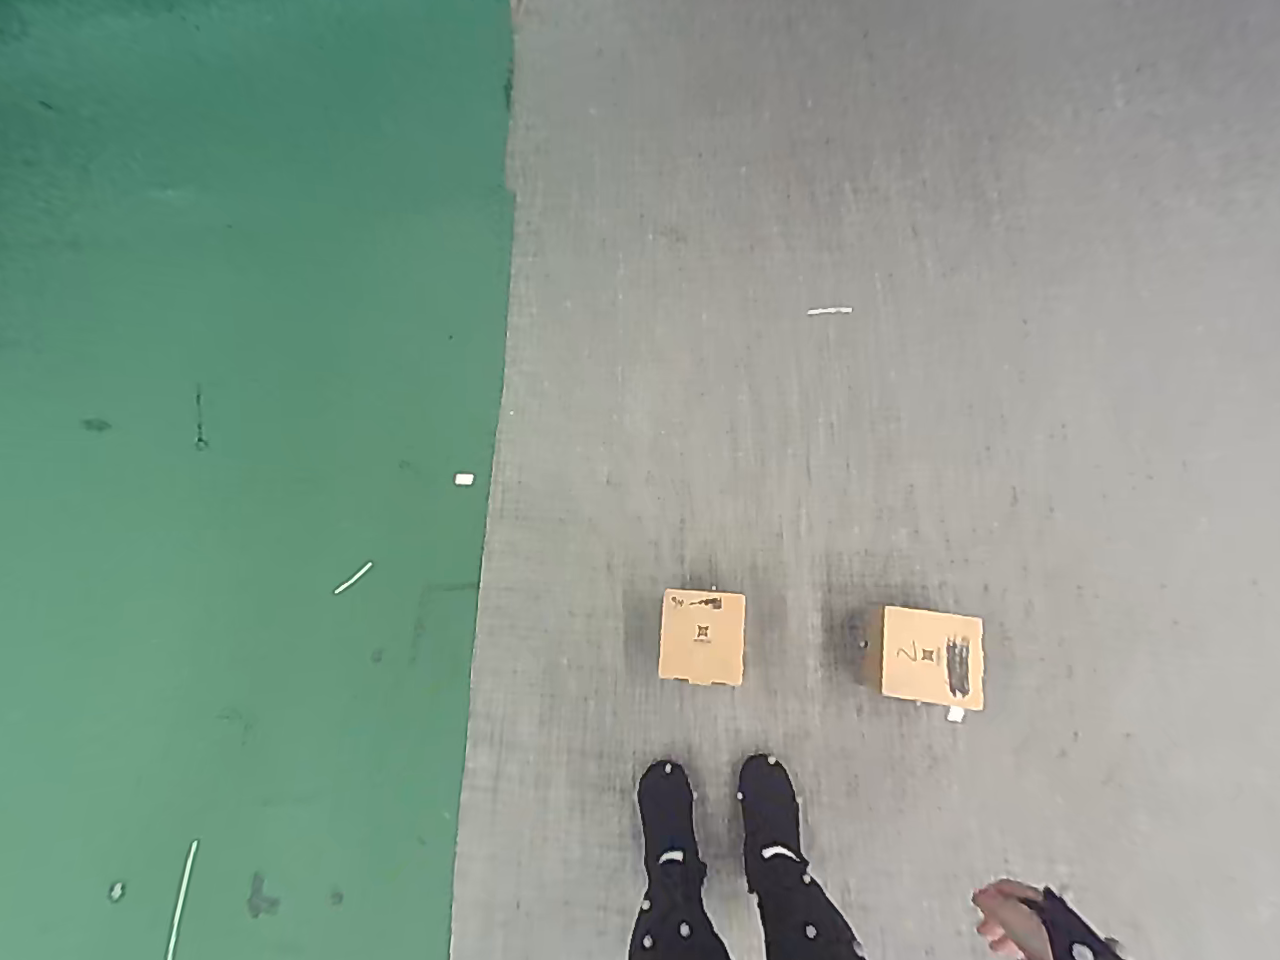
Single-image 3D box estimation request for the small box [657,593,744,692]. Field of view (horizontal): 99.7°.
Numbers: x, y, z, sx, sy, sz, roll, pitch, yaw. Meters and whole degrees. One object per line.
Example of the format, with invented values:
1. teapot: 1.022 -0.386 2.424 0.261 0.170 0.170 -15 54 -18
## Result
1. small box: 0.134 0.339 1.150 0.168 0.176 0.179 3 76 10
